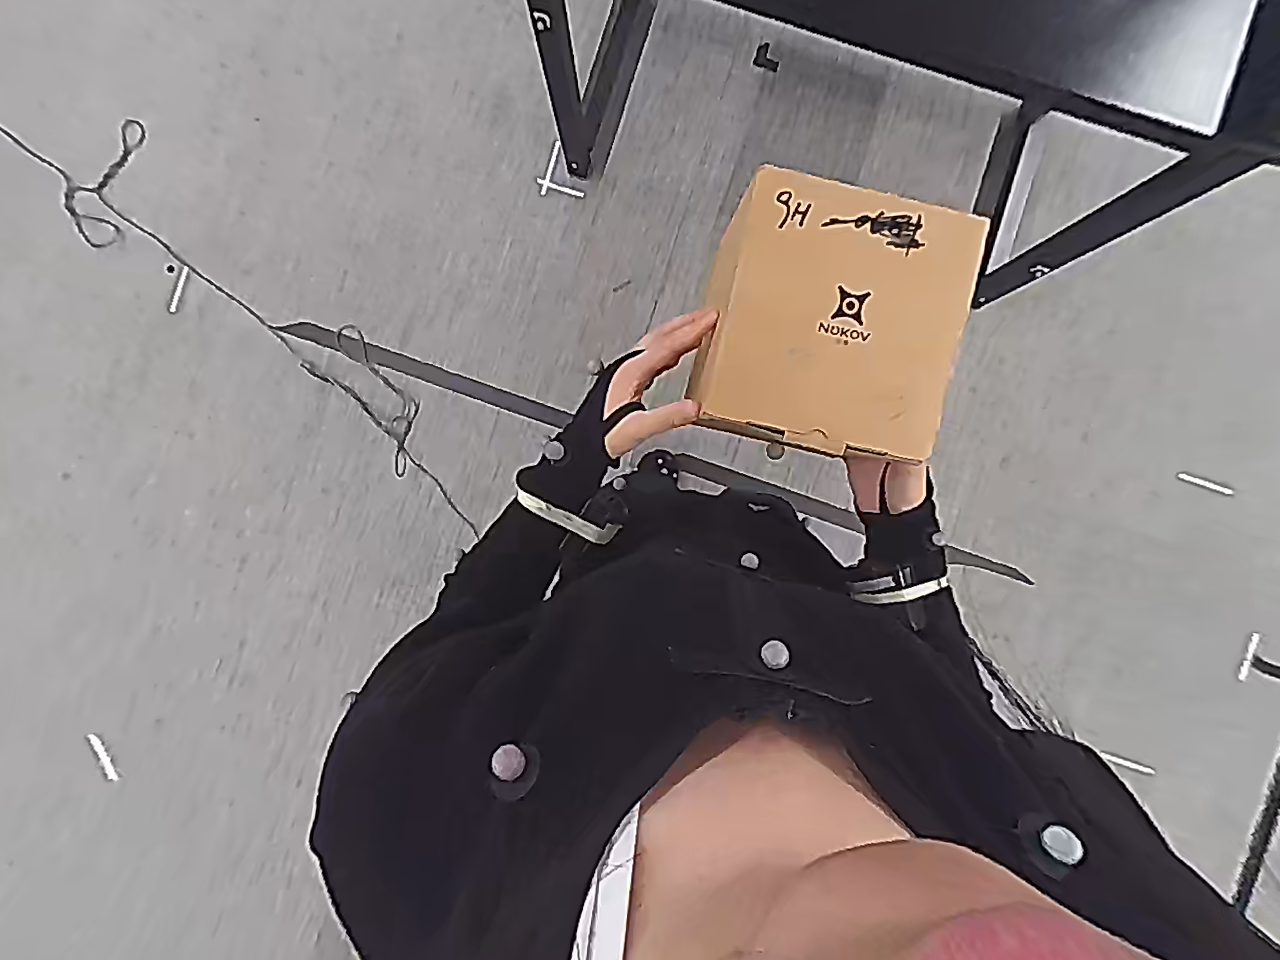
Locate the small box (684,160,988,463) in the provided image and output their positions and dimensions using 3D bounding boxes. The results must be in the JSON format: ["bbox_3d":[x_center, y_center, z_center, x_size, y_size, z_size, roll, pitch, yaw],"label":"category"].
[{"bbox_3d":[0.137,-0.121,0.451,0.168,0.176,0.179,12,96,-3],"label":"small box"}]
